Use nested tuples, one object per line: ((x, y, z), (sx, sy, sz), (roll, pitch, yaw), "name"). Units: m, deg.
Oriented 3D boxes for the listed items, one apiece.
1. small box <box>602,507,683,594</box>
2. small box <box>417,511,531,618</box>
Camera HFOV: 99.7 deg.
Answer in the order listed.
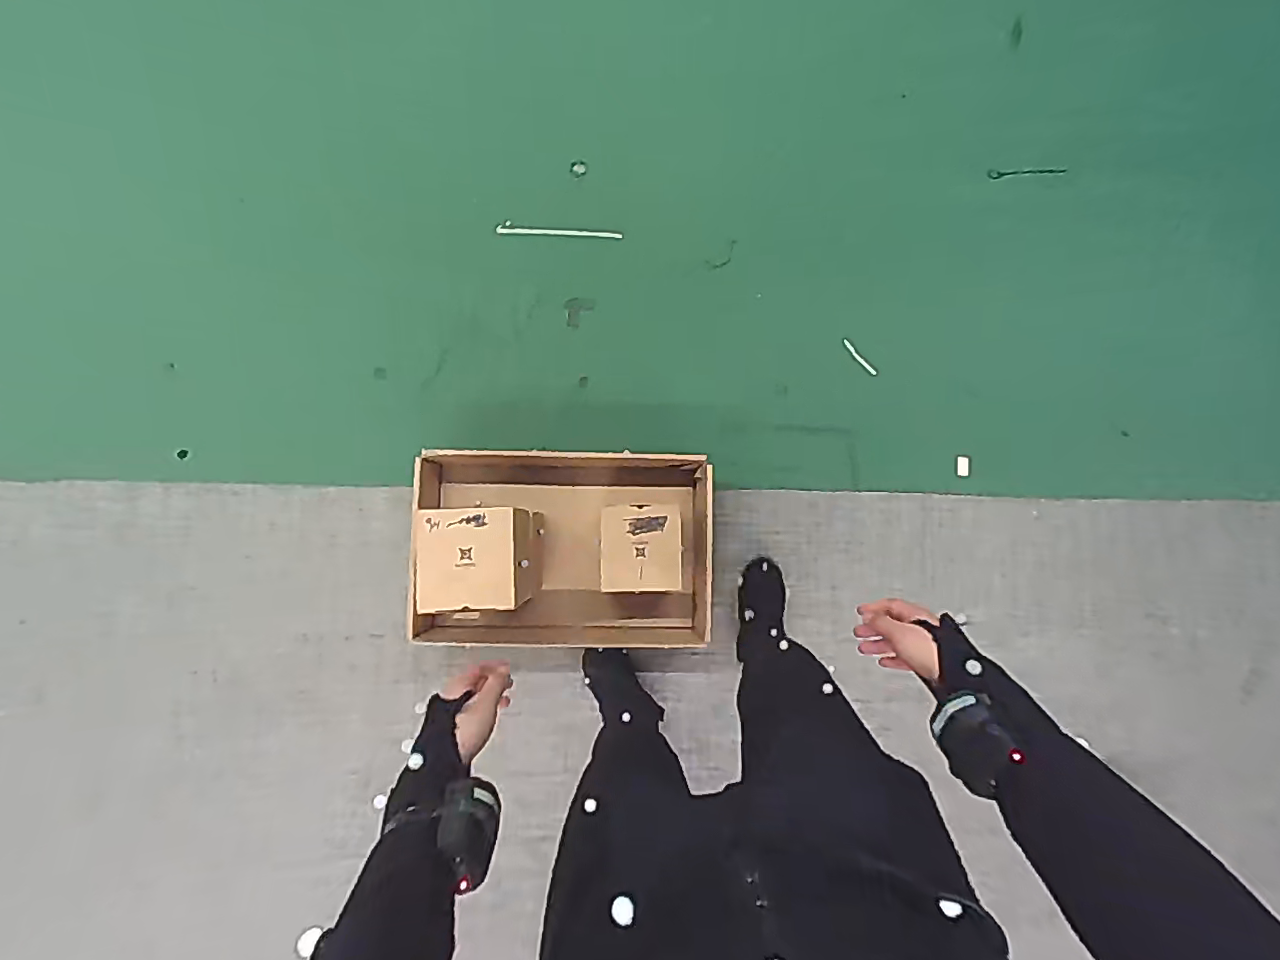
((0.001, 0.147, 1.163), (0.168, 0.176, 0.179), (0, 87, -2), "small box")
((-0.294, 0.147, 0.986), (0.168, 0.176, 0.179), (-1, 86, -3), "small box")
